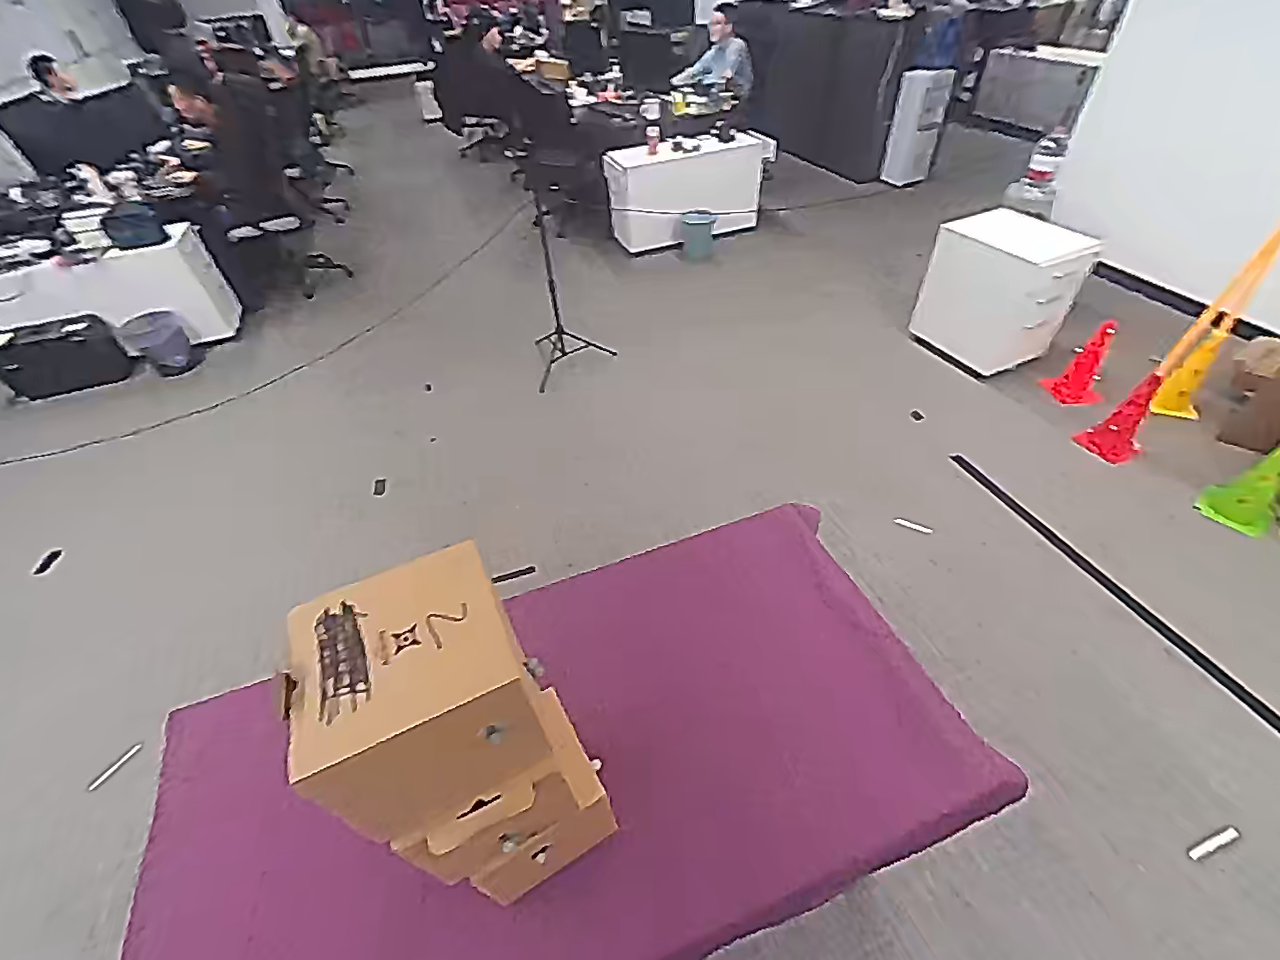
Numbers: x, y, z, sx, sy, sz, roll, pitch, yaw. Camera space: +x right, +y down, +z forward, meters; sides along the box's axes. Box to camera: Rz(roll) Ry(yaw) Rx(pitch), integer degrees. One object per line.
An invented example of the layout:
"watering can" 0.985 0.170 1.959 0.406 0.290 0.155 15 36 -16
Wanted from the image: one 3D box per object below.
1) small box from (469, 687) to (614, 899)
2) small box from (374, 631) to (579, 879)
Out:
"small box" -0.151 0.430 0.742 0.179 0.176 0.168 -25 48 -20
"small box" -0.184 0.316 0.625 0.168 0.176 0.179 -22 47 -15
